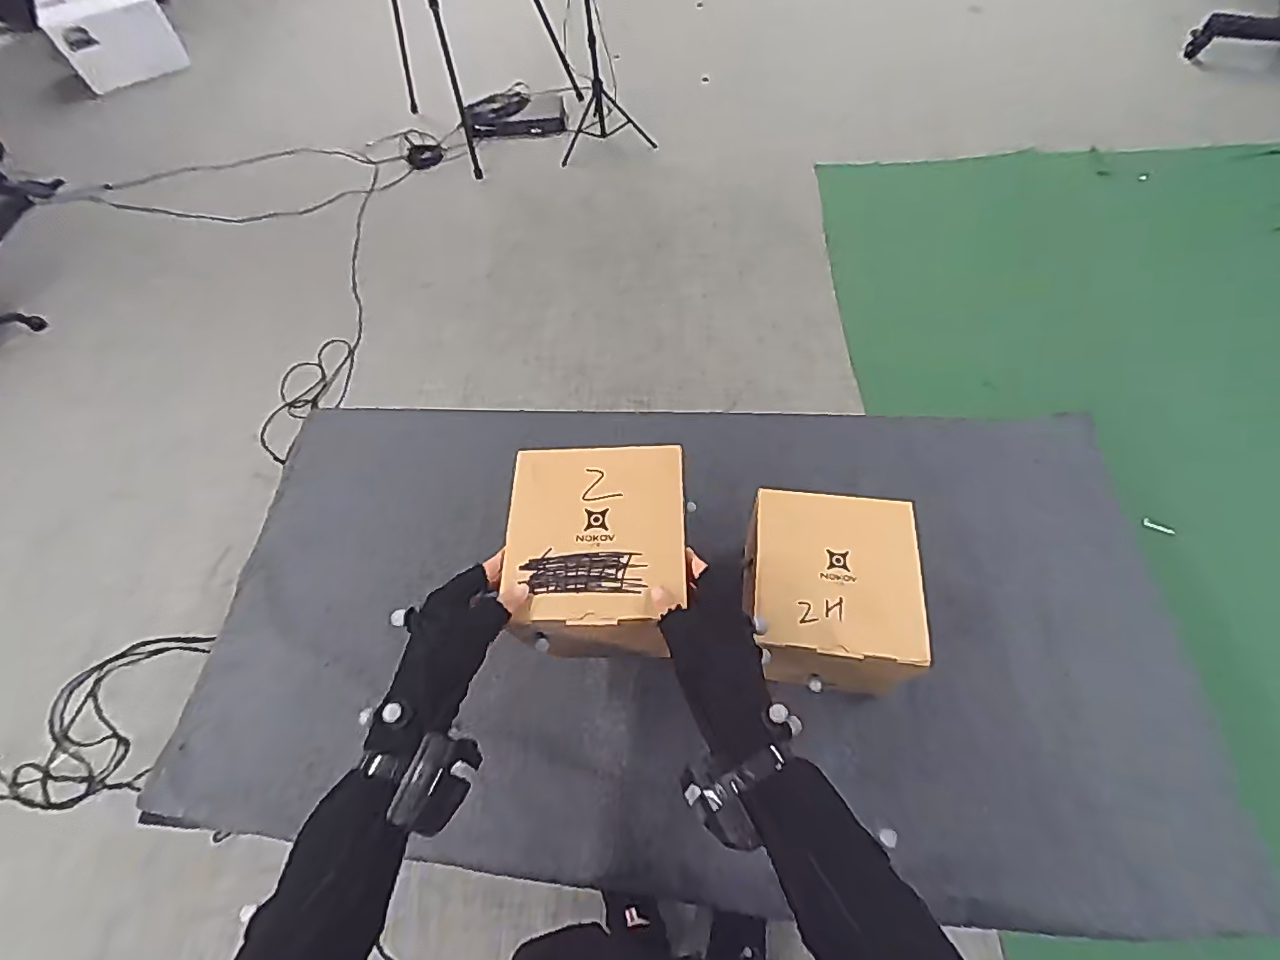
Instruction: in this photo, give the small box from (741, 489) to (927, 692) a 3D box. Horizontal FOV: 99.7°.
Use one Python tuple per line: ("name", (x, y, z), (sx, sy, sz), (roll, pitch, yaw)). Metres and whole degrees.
("small box", (0.209, 0.131, 0.627), (0.168, 0.176, 0.179), (5, 61, 9))
